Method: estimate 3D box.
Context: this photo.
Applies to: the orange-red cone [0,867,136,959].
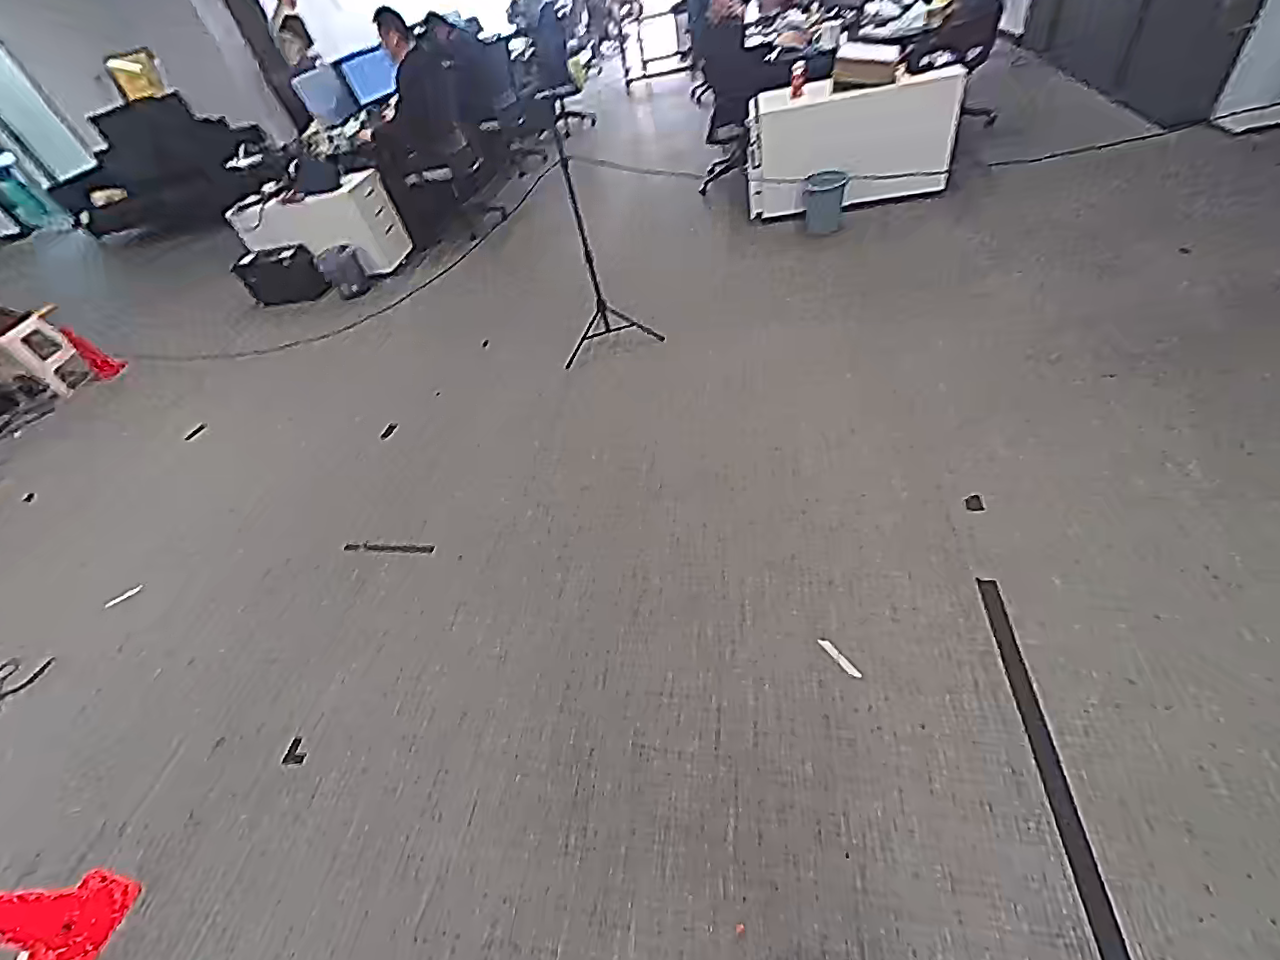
[{"bbox_3d":[-1.433,1.003,1.242,0.199,0.360,0.198,5,49,18],"label":"orange-red cone"}]
